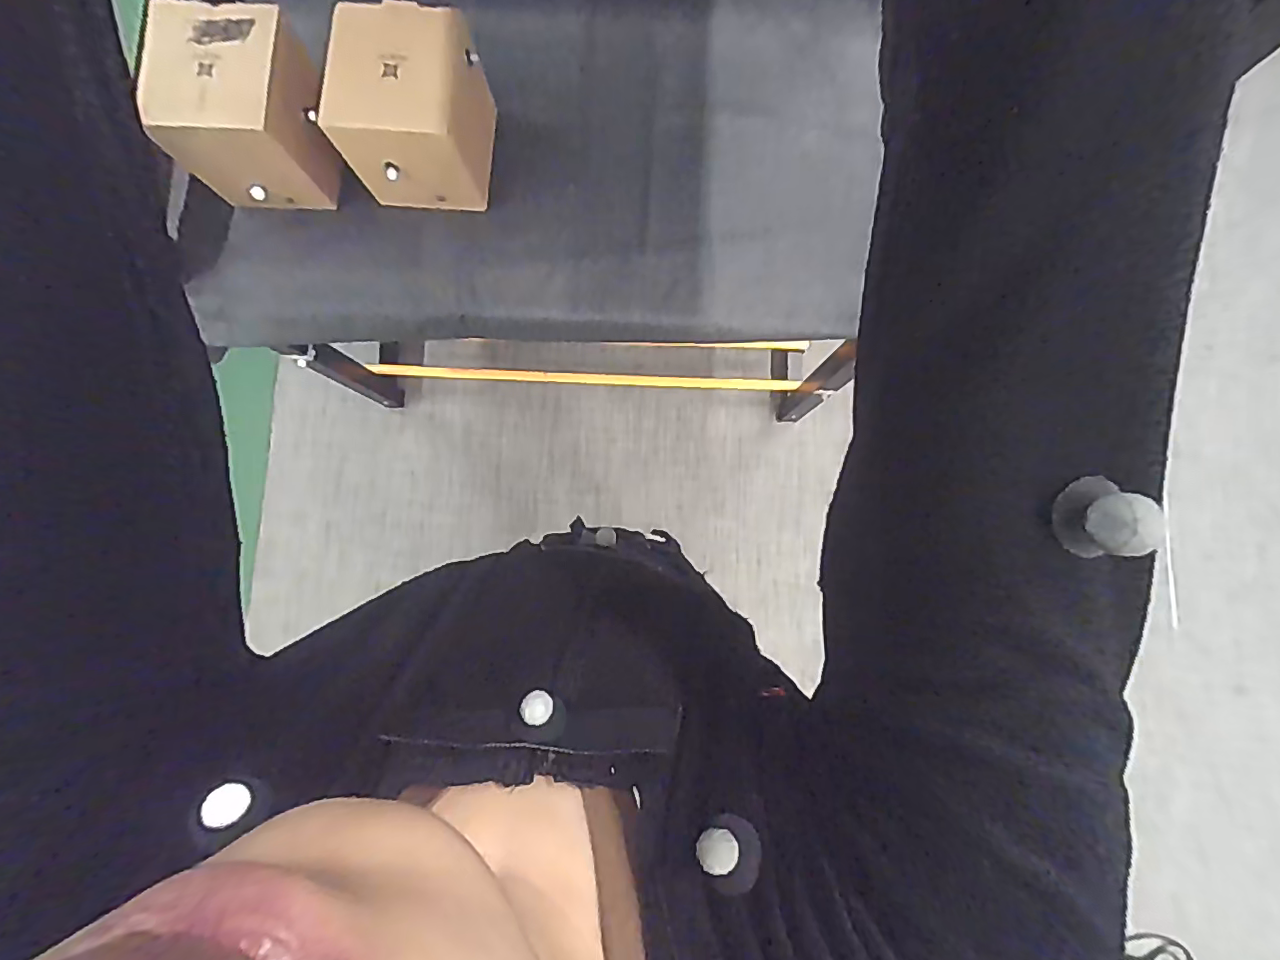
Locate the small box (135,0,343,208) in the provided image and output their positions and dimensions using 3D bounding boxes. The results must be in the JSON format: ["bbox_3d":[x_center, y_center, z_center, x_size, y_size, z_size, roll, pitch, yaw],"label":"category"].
[{"bbox_3d":[-0.540,-0.518,0.759,0.168,0.176,0.179,2,84,0],"label":"small box"}]

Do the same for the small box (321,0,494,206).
[{"bbox_3d":[-0.313,-0.516,0.762,0.168,0.176,0.179,3,83,0],"label":"small box"}]
